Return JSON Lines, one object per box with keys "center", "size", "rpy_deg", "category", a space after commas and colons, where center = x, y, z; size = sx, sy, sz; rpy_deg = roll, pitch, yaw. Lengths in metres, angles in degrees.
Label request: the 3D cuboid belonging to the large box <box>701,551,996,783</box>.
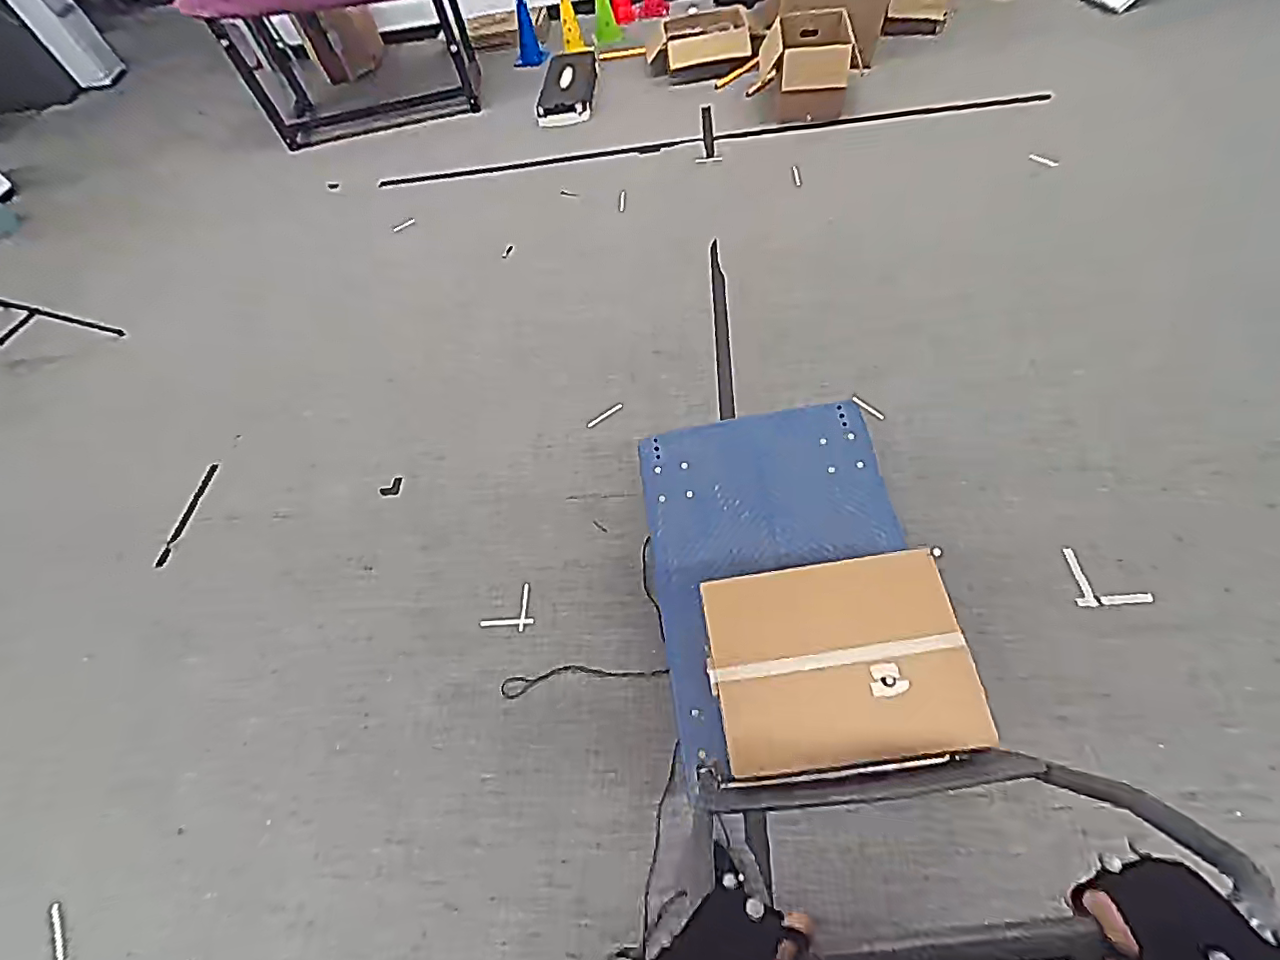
{"center": [0.341, 0.354, 1.018], "size": [0.408, 0.320, 0.320], "rpy_deg": [-10, 67, 4], "category": "large box"}
